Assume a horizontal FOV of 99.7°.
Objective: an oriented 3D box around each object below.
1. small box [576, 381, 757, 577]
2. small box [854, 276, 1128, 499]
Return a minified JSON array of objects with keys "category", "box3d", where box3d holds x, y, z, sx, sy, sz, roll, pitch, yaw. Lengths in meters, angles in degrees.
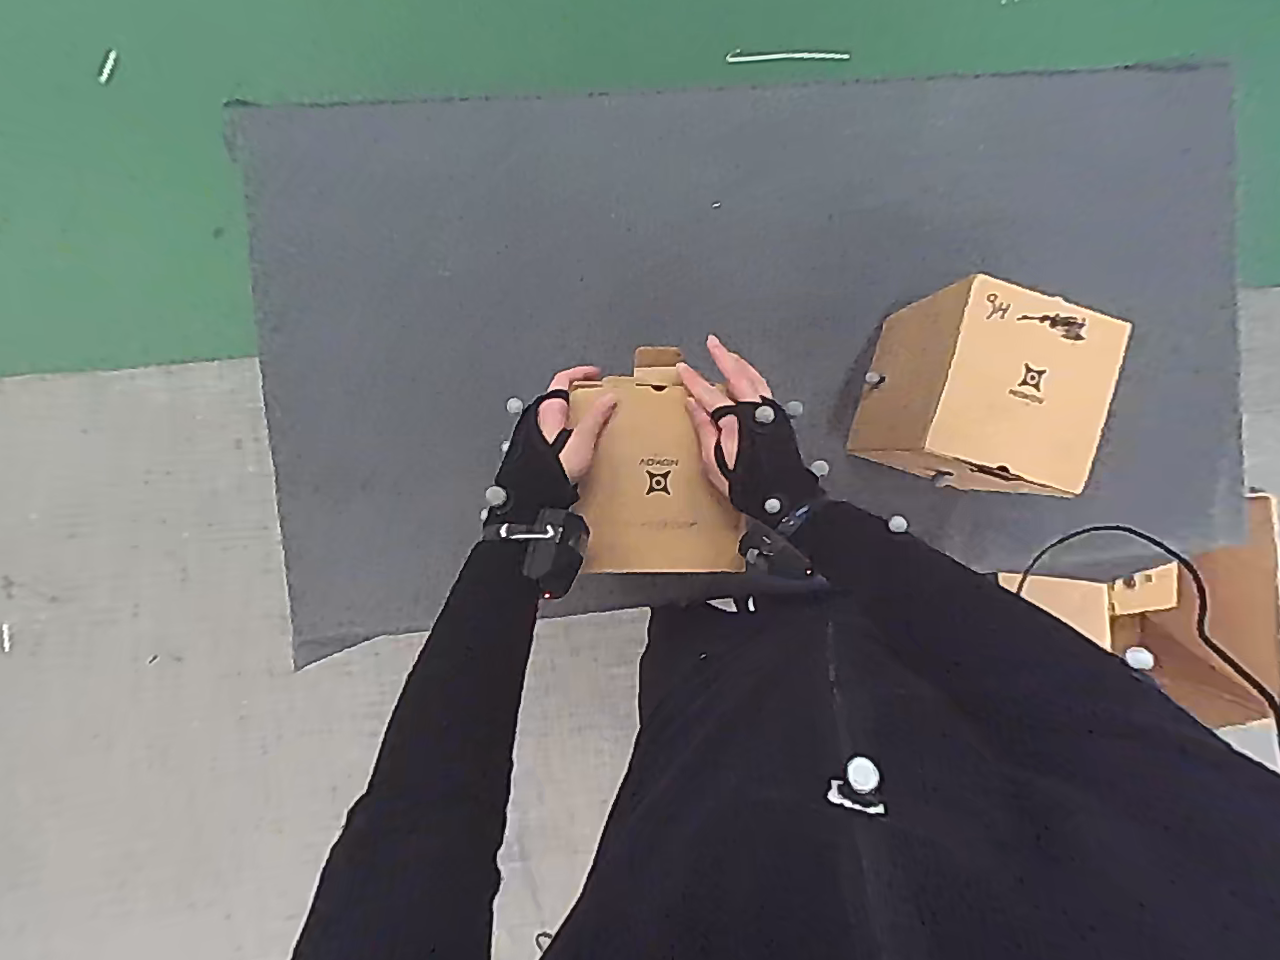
[{"category":"small box","box3d":[0.018,-0.003,0.562,0.168,0.176,0.179,-1,93,-3]},{"category":"small box","box3d":[0.363,-0.092,0.597,0.168,0.176,0.179,17,92,-4]}]
